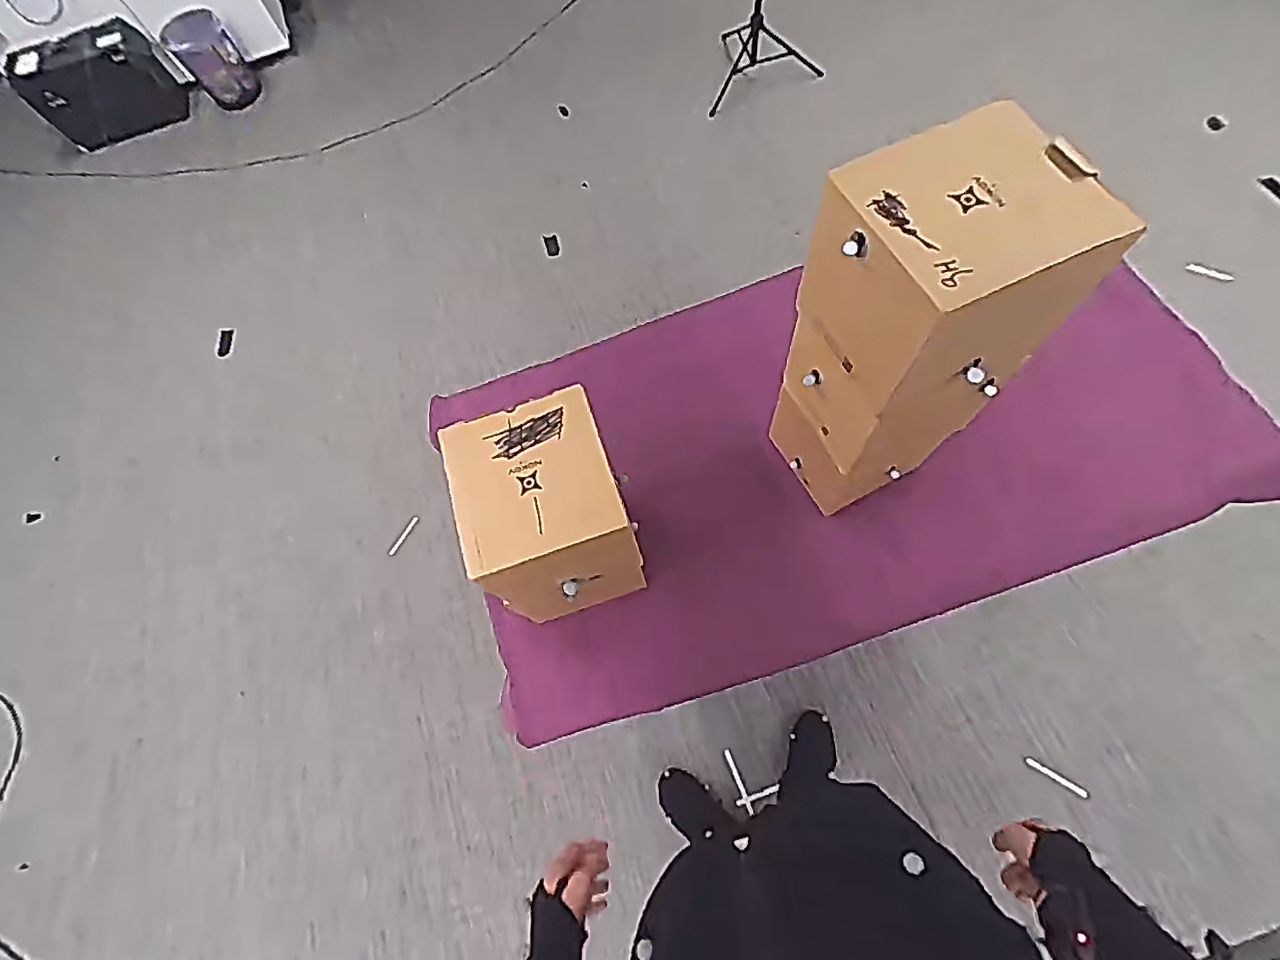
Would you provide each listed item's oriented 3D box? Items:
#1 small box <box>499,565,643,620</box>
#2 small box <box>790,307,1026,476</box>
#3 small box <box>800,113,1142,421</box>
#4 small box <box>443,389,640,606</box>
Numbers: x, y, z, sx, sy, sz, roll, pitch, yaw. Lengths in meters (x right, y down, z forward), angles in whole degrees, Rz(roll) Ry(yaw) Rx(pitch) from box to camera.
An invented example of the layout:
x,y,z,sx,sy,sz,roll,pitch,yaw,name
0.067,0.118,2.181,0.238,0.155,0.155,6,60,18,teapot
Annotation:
x,y,z,sx,sy,sz,roll,pitch,yaw,name
-0.104,0.092,0.782,0.179,0.176,0.168,-18,67,-2,small box
0.297,-0.128,0.653,0.179,0.176,0.168,-23,68,-3,small box
0.273,-0.183,0.500,0.179,0.176,0.168,-22,67,-4,small box
-0.105,0.029,0.629,0.168,0.176,0.179,-19,68,-2,small box
